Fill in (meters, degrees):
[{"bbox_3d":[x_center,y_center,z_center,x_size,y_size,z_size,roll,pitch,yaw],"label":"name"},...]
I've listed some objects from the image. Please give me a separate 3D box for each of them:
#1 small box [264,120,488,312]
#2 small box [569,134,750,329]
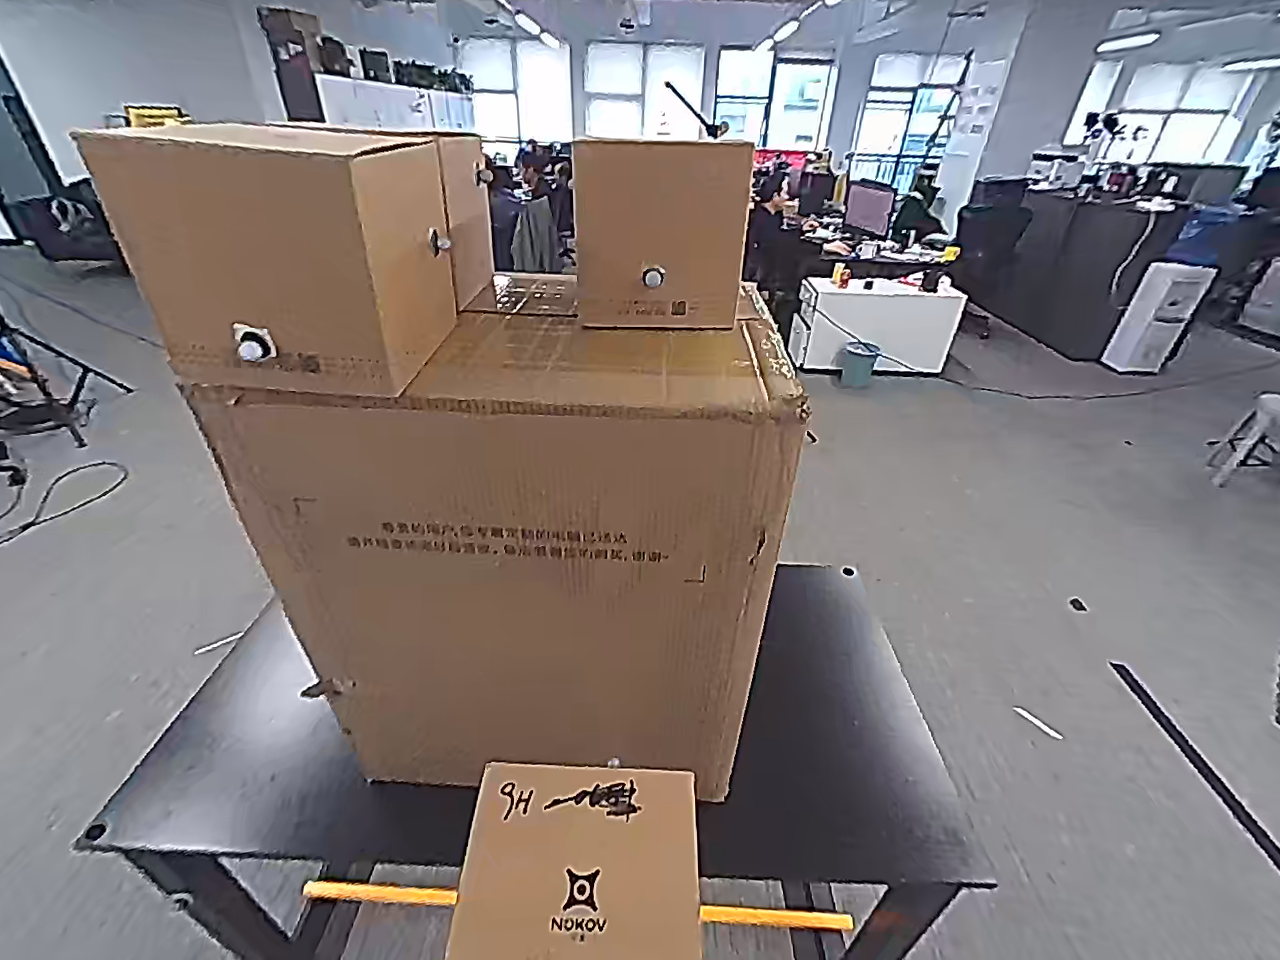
[{"bbox_3d":[-0.277,-0.302,0.619,0.168,0.176,0.179,2,32,-1],"label":"small box"},{"bbox_3d":[0.015,-0.273,0.590,0.168,0.176,0.179,0,32,-1],"label":"small box"}]
